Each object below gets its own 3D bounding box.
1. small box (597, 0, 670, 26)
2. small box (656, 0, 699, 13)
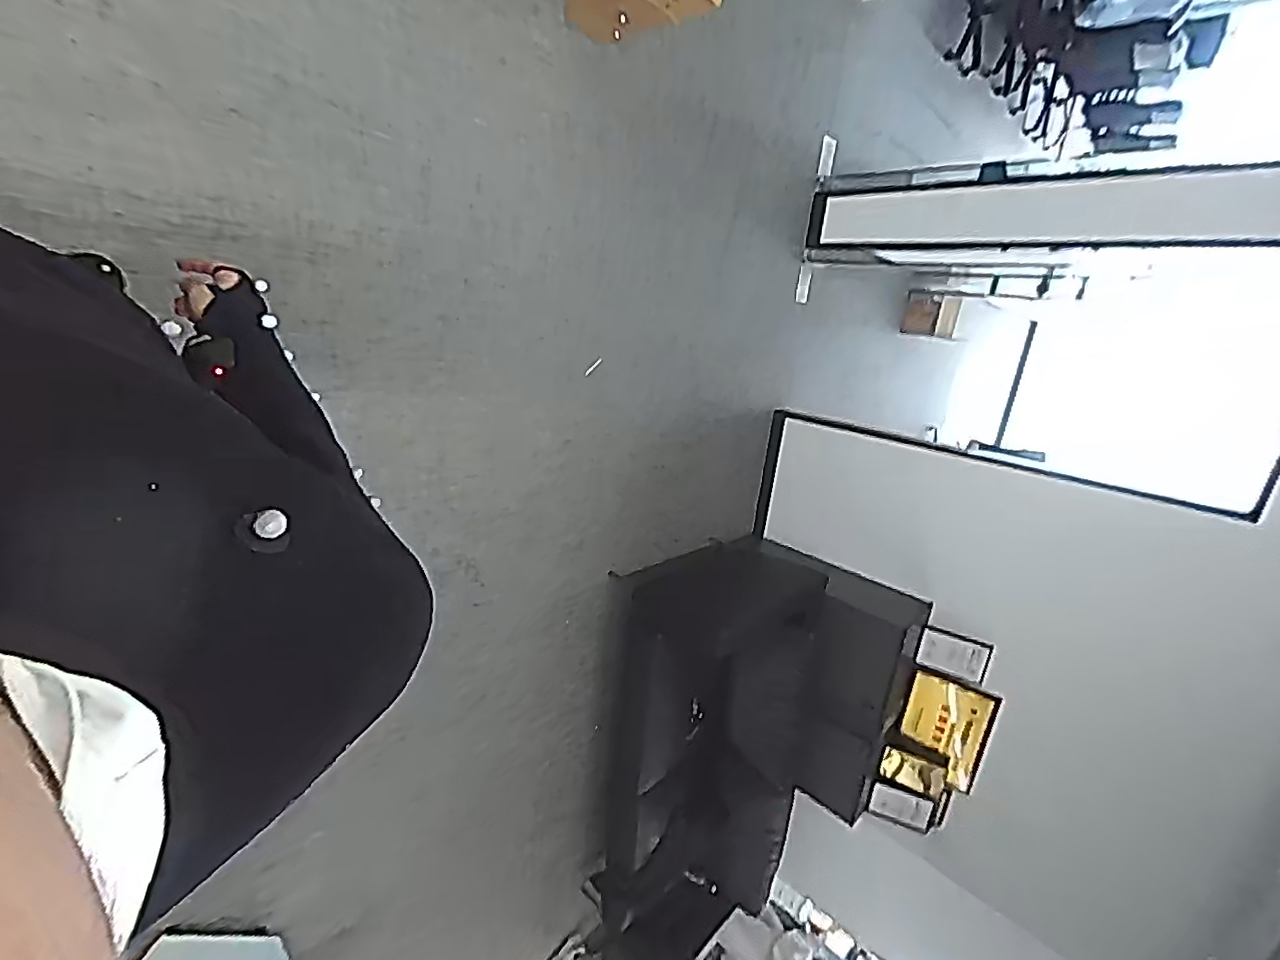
[{"bbox_3d":[-0.014,-1.459,1.552,0.168,0.176,0.179,-10,114,-45],"label":"small box"},{"bbox_3d":[0.103,-1.413,1.451,0.168,0.176,0.179,-4,108,-47],"label":"small box"}]
